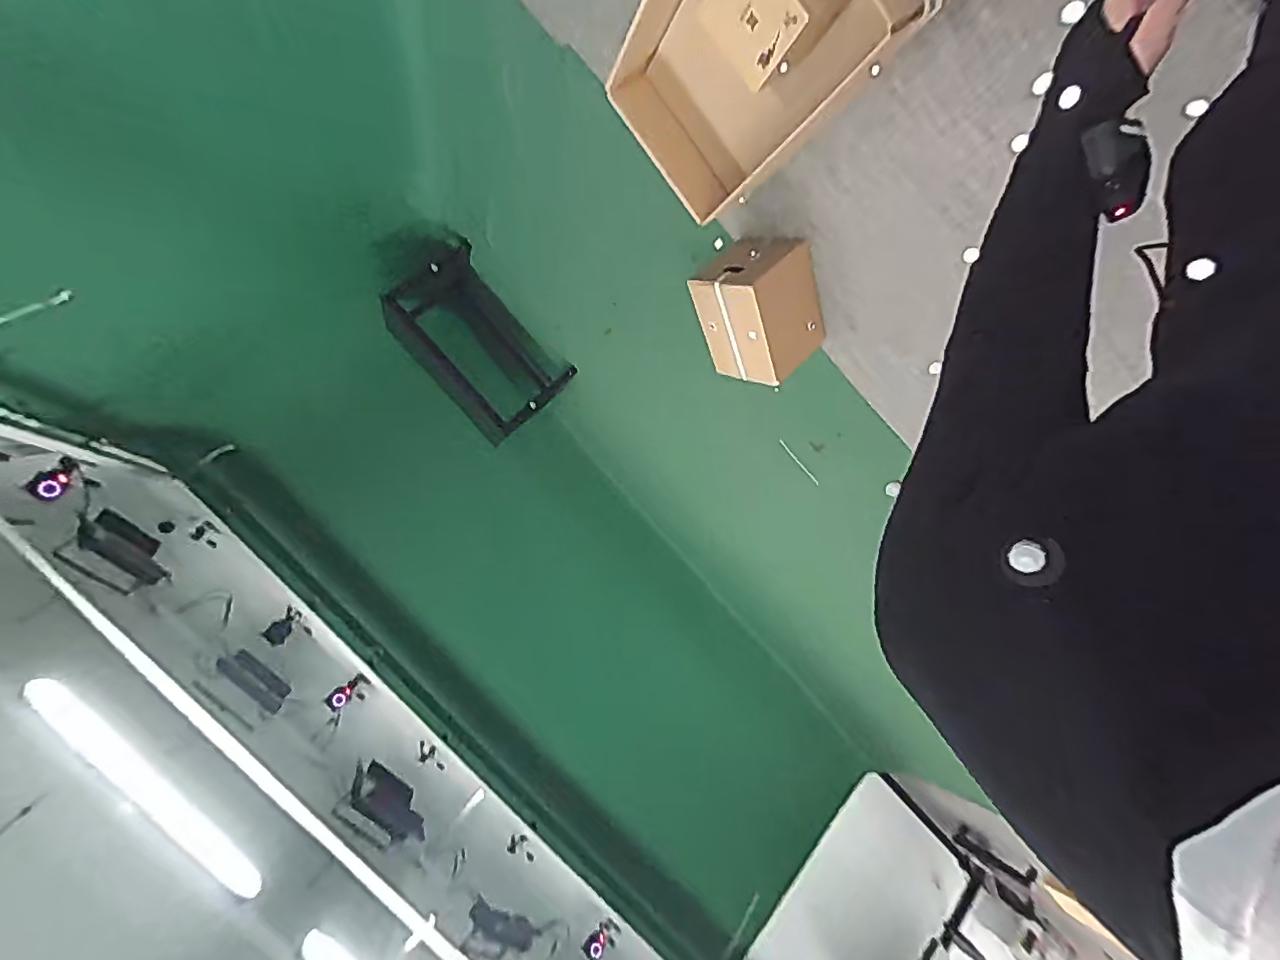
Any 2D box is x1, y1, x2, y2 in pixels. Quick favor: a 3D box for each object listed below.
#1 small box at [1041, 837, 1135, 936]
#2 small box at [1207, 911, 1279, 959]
[{"bbox_3d":[1.526,1.373,1.837,0.179,0.176,0.168,50,159,-10],"label":"small box"},{"bbox_3d":[1.666,1.299,1.414,0.179,0.176,0.168,47,161,0],"label":"small box"}]
